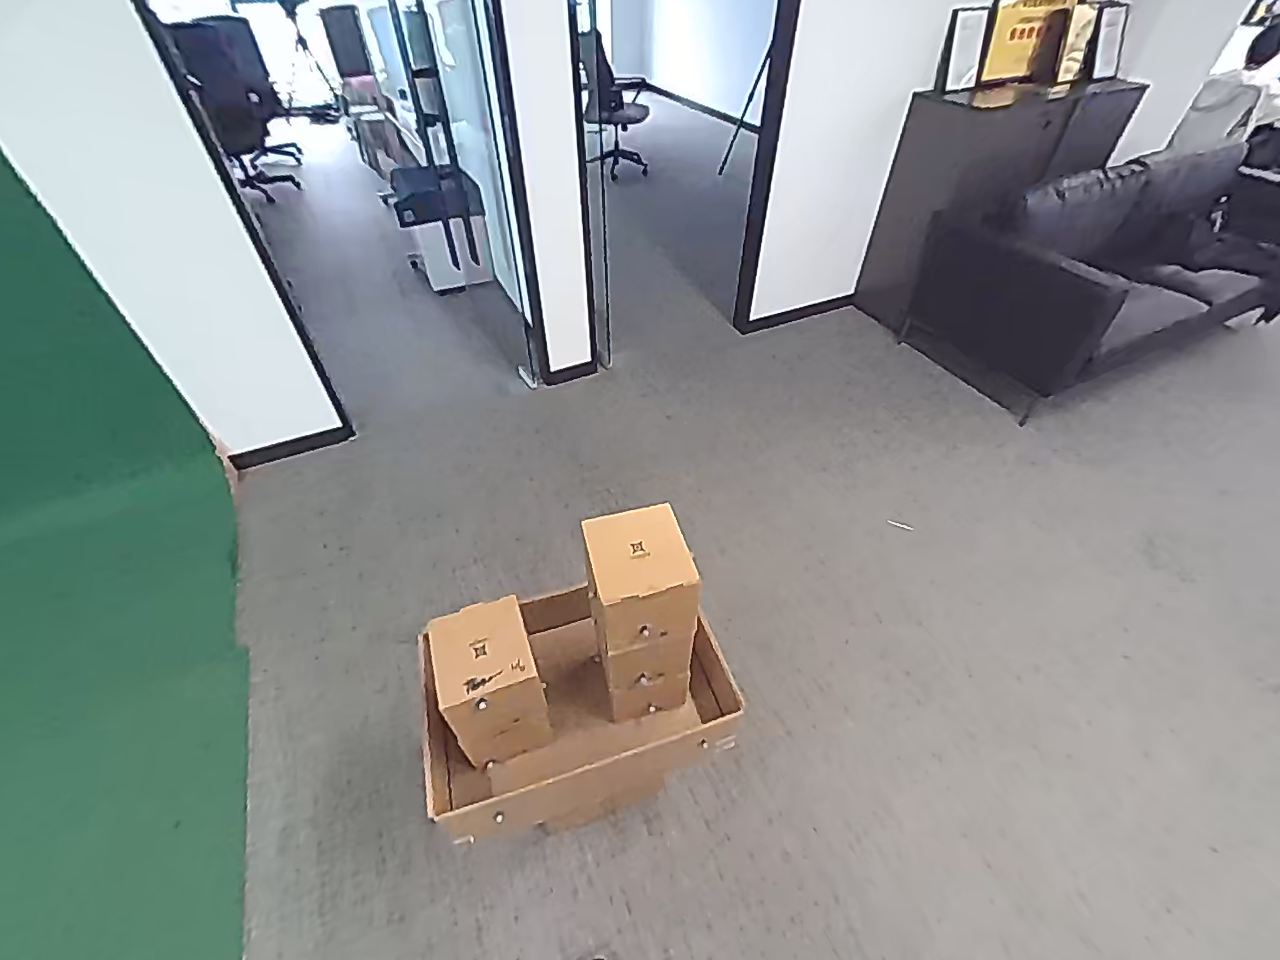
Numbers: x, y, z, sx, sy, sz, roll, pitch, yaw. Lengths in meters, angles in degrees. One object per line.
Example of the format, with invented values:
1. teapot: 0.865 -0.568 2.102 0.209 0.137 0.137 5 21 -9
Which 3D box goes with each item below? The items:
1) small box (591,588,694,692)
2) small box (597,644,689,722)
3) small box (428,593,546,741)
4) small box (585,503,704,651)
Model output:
1. small box: -0.003 0.286 1.067 0.168 0.176 0.179 -11 47 -11
2. small box: -0.001 0.398 1.184 0.168 0.176 0.179 -10 47 -11
3. small box: -0.280 0.345 1.000 0.168 0.176 0.179 -16 48 -15
4. small box: 0.000 0.171 0.952 0.168 0.176 0.179 -11 47 -11
